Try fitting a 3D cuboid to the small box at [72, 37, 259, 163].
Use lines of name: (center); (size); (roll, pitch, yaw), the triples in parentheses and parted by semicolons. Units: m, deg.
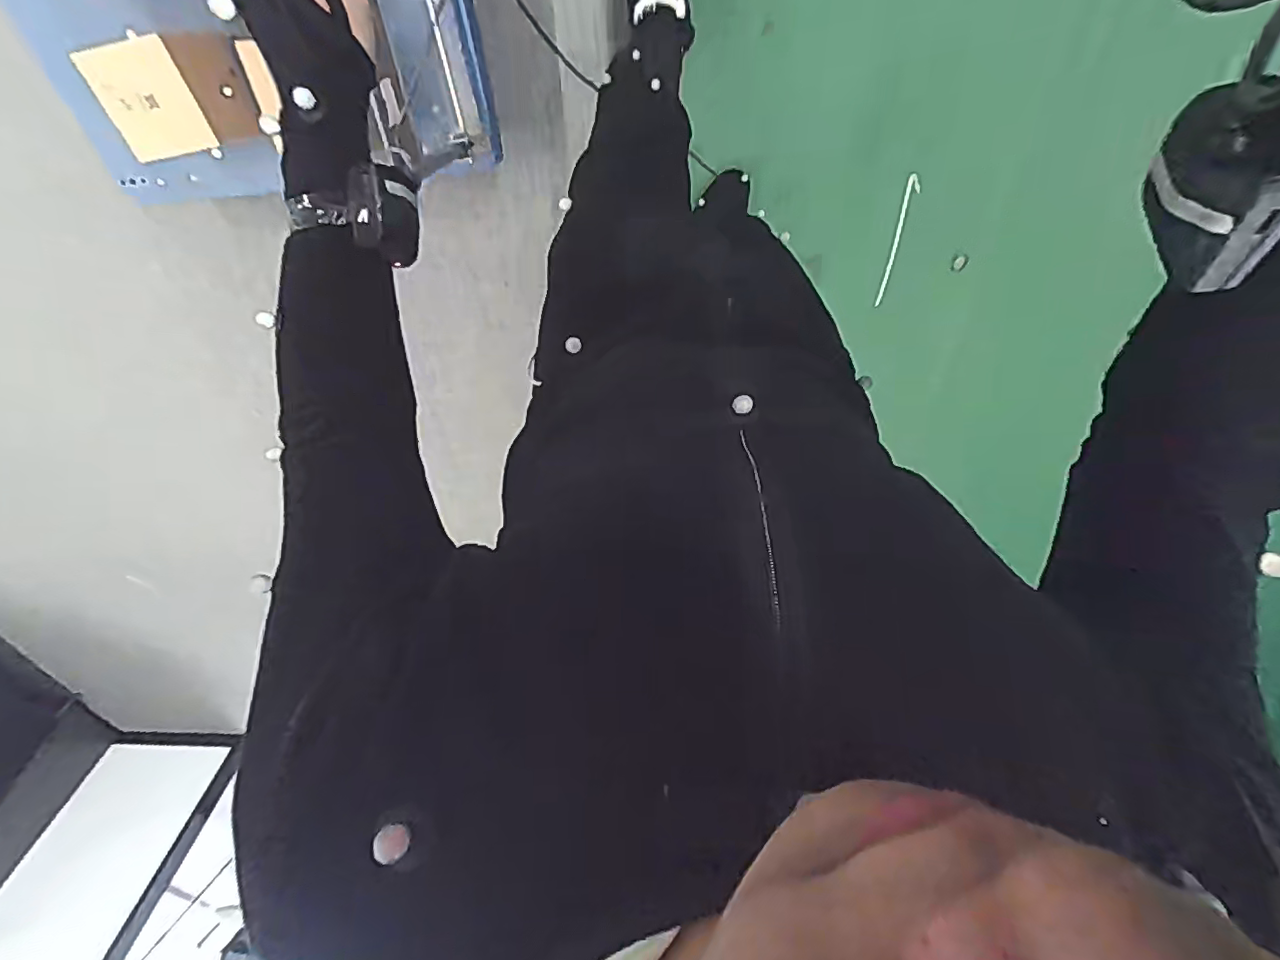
small box: (-0.865, -0.715, 1.015); (0.179, 0.176, 0.168); (-5, 128, 7)
